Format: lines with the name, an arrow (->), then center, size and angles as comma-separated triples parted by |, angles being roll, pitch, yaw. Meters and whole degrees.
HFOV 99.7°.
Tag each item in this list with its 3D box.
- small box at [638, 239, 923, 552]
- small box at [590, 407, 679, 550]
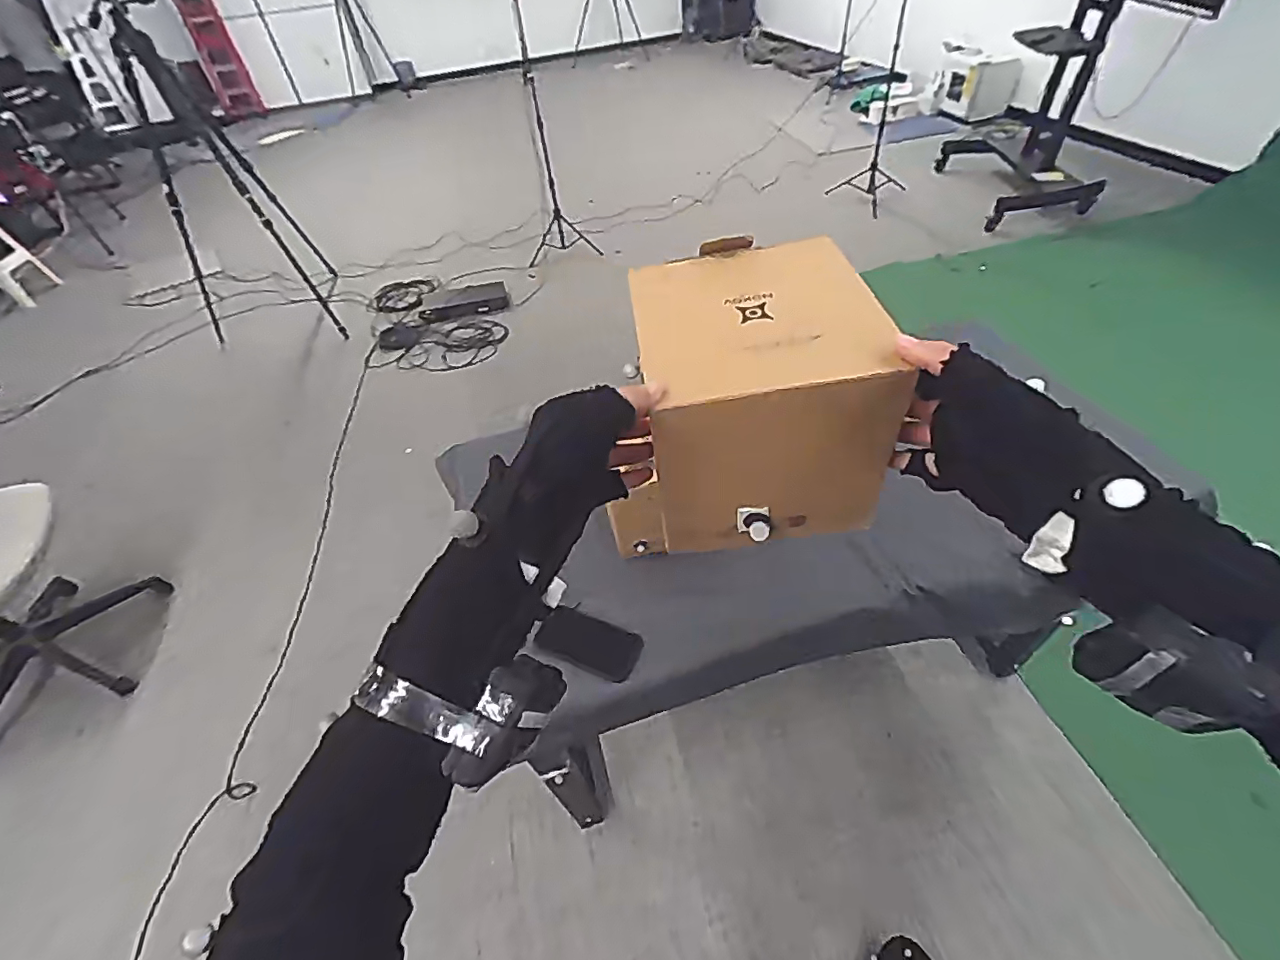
small box -> 0.092, -0.065, 0.440 | 0.168, 0.176, 0.179 | -8, 51, 2
small box -> 0.022, -0.002, 0.903 | 0.168, 0.176, 0.179 | -13, 46, -6
